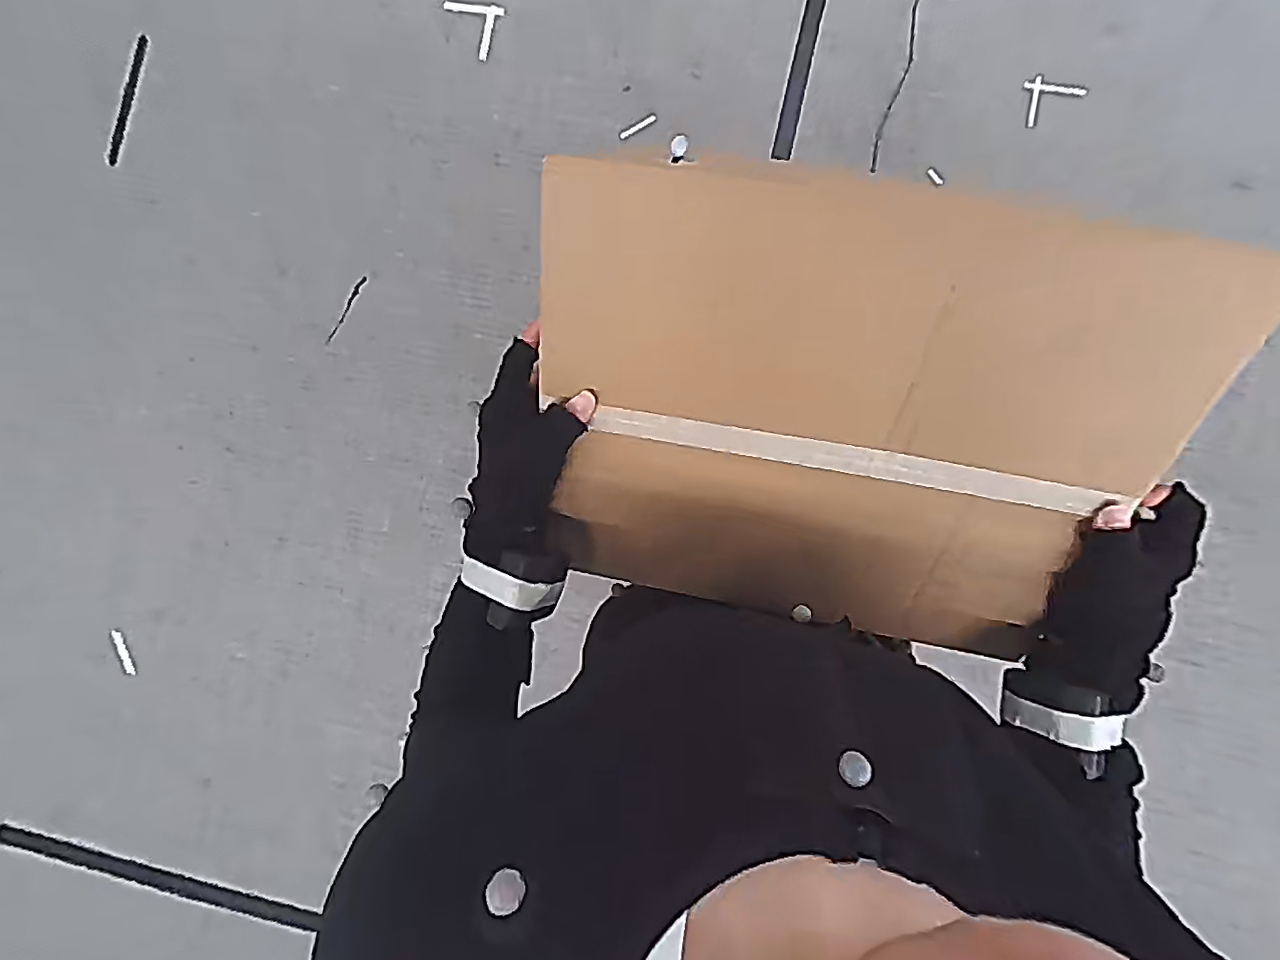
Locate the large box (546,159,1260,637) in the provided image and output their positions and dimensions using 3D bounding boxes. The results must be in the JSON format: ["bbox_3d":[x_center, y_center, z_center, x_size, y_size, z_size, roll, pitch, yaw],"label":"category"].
[{"bbox_3d":[0.148,-0.105,0.511,0.408,0.320,0.320,10,125,5],"label":"large box"}]
